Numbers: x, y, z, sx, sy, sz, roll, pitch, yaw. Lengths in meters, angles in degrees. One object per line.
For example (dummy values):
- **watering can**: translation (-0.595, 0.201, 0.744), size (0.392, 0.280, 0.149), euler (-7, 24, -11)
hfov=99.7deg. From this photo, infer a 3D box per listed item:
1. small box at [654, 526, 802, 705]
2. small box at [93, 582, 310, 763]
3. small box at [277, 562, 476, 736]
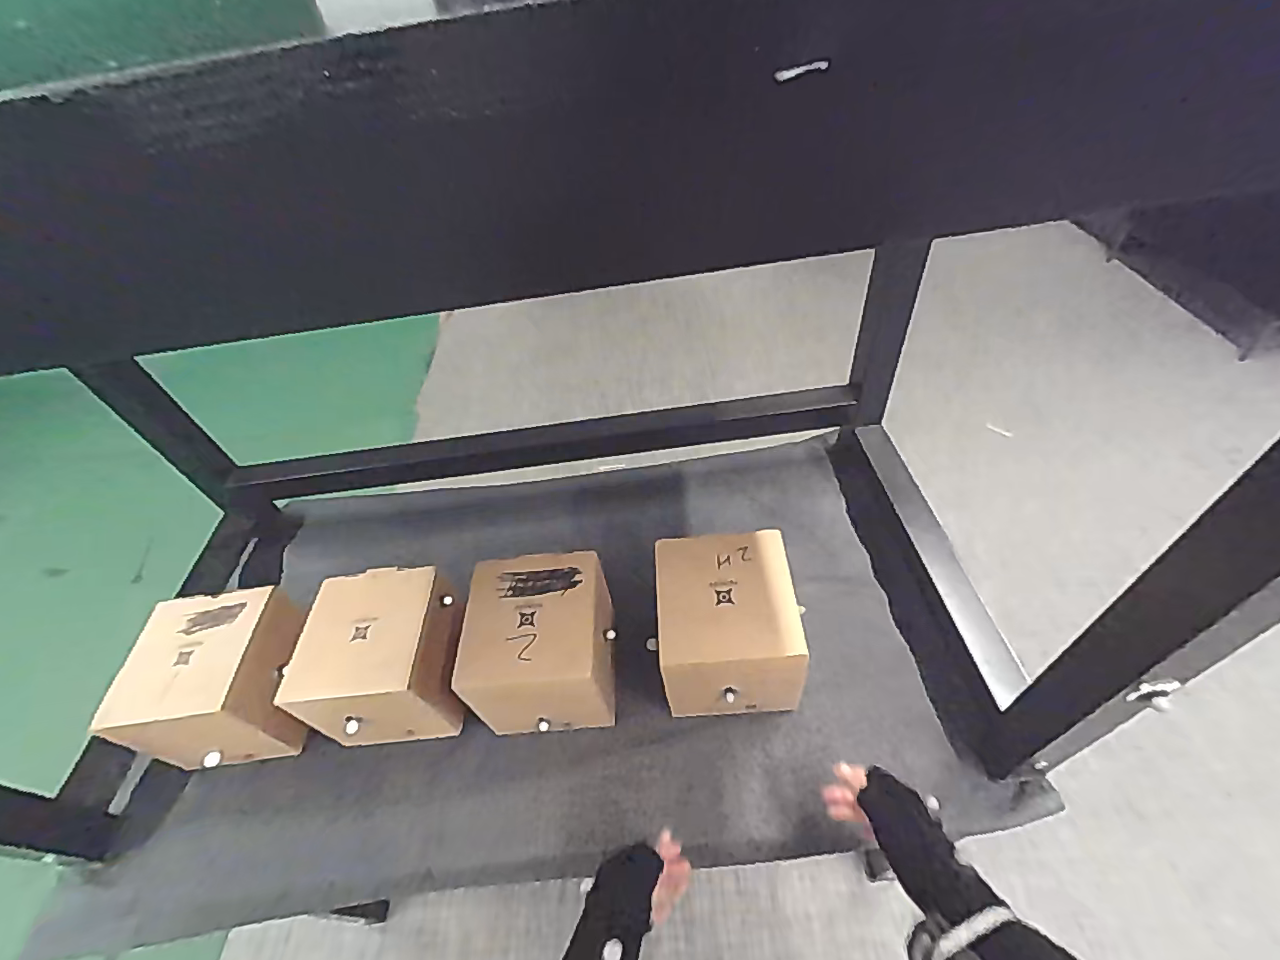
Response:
- **small box**: translation (0.109, 0.184, 0.711), size (0.168, 0.176, 0.179), euler (-5, 46, 5)
- **small box**: translation (-0.567, 0.268, 0.752), size (0.168, 0.176, 0.179), euler (-9, 47, 2)
- **small box**: translation (-0.342, 0.238, 0.745), size (0.168, 0.176, 0.179), euler (-7, 46, 3)
